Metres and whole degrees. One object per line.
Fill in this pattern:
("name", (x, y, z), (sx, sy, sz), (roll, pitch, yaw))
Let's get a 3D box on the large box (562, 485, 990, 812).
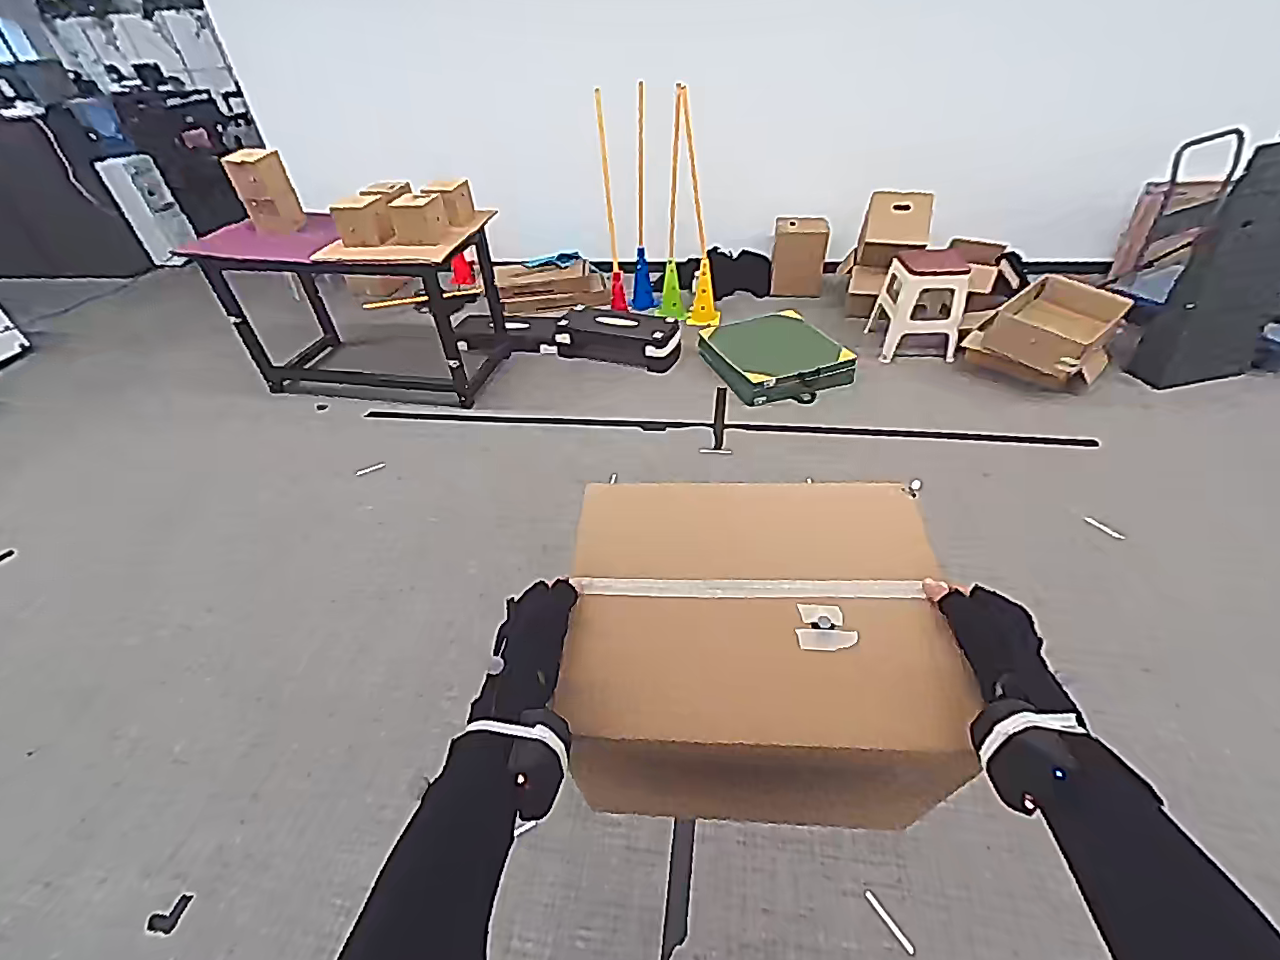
("large box", (0.135, 0.224, 0.709), (0.408, 0.320, 0.320), (-1, 48, 5))
